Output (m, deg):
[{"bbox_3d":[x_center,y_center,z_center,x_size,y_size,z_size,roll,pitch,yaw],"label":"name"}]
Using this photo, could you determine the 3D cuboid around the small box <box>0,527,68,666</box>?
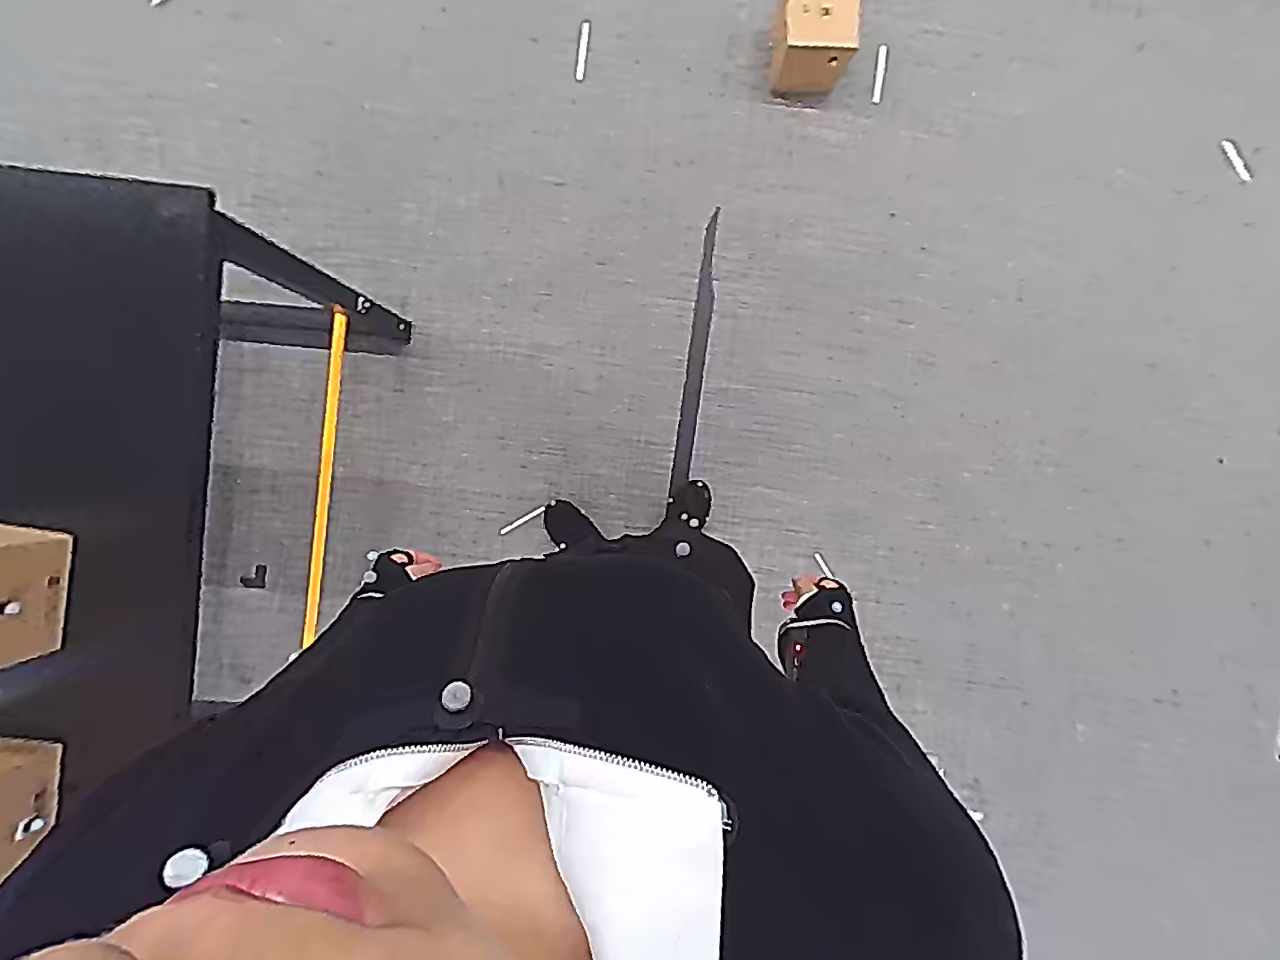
[{"bbox_3d":[-0.887,0.150,0.676,0.179,0.176,0.168,9,92,-1],"label":"small box"}]

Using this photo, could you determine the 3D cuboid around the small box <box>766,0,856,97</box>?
[{"bbox_3d":[0.431,-1.114,1.378,0.179,0.176,0.168,1,92,-1],"label":"small box"}]

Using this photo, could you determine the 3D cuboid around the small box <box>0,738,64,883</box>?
[{"bbox_3d":[-0.912,0.447,0.688,0.179,0.176,0.168,6,93,-2],"label":"small box"}]
